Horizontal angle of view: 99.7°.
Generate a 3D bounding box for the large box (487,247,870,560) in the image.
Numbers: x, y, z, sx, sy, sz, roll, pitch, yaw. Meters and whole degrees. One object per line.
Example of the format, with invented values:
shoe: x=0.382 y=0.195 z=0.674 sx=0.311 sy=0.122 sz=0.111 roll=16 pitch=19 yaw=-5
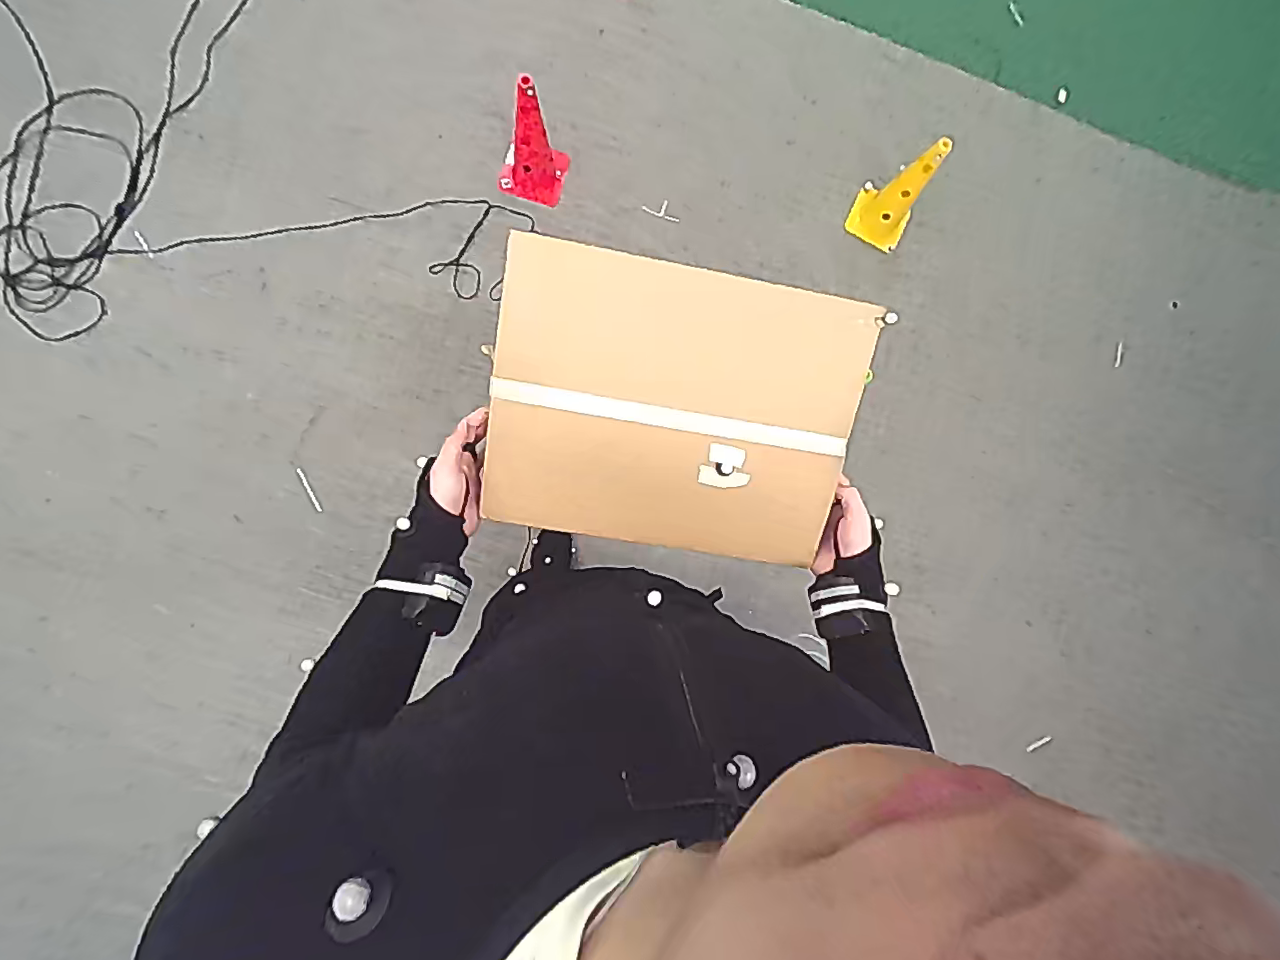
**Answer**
large box: x=0.026 y=-0.108 z=0.756 sx=0.408 sy=0.320 sz=0.320 roll=8 pitch=105 yaw=-6
